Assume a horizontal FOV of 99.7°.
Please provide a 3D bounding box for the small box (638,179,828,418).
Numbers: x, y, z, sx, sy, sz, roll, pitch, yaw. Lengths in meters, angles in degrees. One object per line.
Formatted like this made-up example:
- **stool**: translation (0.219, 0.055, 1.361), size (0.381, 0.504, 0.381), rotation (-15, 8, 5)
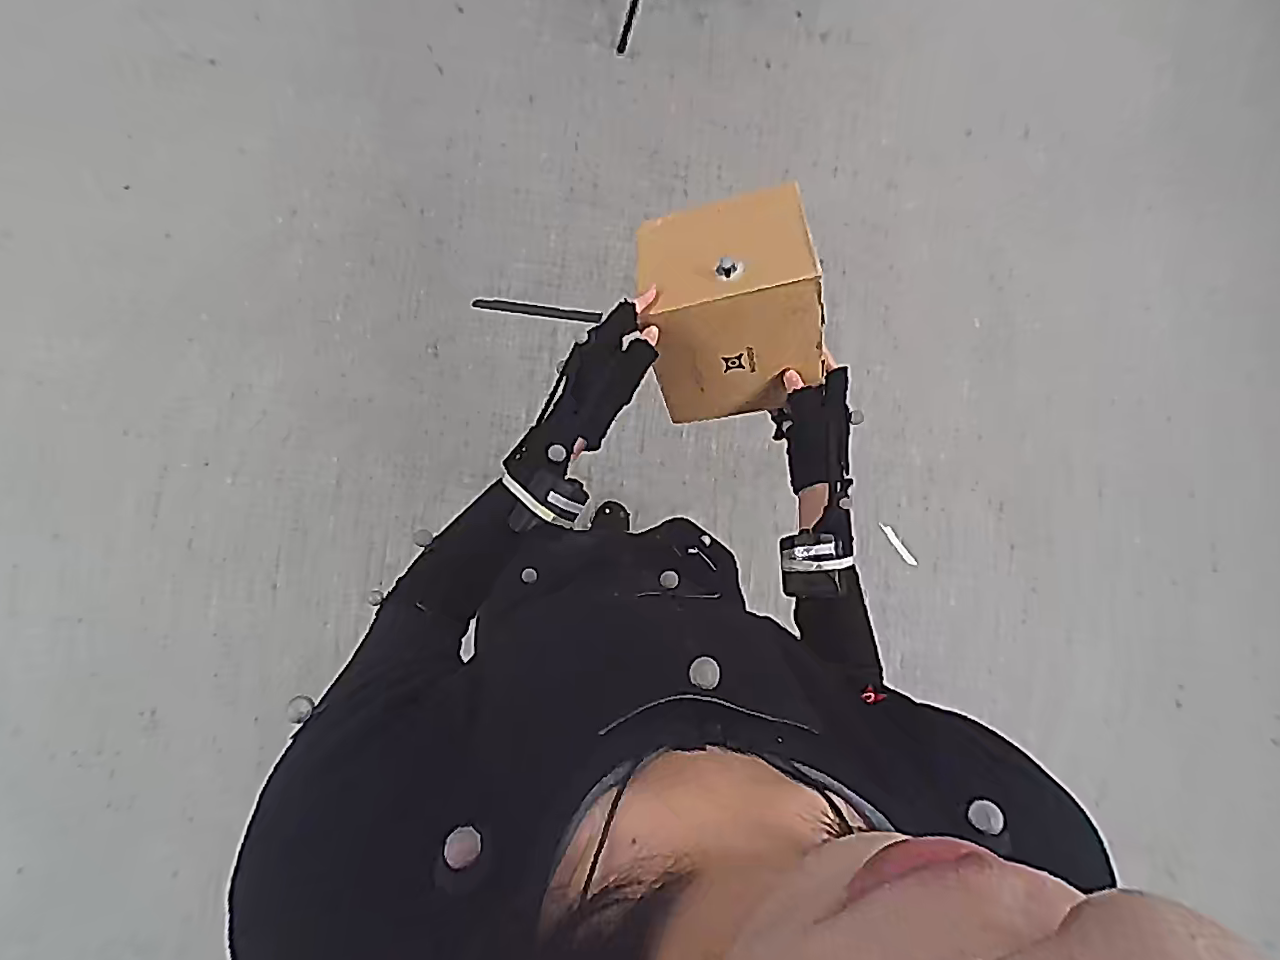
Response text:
- **small box**: translation (0.100, -0.196, 0.594), size (0.179, 0.168, 0.176), rotation (-9, 53, 14)
